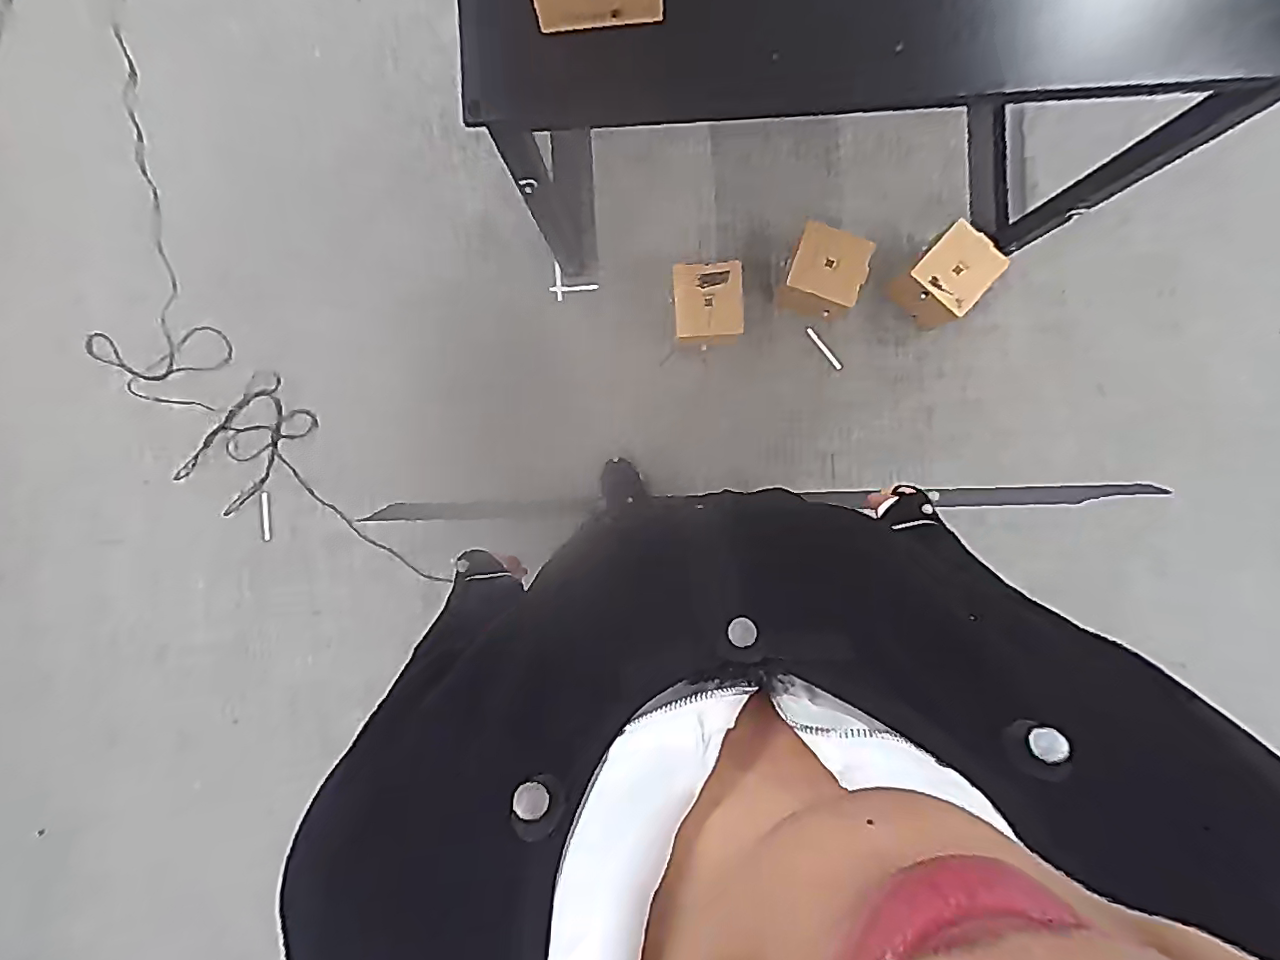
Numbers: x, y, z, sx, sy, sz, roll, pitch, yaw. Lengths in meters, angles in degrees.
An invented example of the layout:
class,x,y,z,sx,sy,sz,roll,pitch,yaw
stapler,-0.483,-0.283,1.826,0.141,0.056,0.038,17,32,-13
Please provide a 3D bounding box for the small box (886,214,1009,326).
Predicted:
class,x,y,z,sx,sy,sz,roll,pitch,yaw
small box,0.764,-0.519,1.363,0.168,0.176,0.179,41,94,0

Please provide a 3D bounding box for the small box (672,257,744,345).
class,x,y,z,sx,sy,sz,roll,pitch,yaw
small box,0.170,-0.453,1.389,0.168,0.176,0.179,-3,95,2

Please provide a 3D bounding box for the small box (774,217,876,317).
class,x,y,z,sx,sy,sz,roll,pitch,yaw
small box,0.461,-0.530,1.376,0.179,0.176,0.168,19,93,2

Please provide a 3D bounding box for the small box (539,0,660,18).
class,x,y,z,sx,sy,sz,roll,pitch,yaw
small box,-0.060,-0.703,0.649,0.168,0.176,0.179,-5,93,2
